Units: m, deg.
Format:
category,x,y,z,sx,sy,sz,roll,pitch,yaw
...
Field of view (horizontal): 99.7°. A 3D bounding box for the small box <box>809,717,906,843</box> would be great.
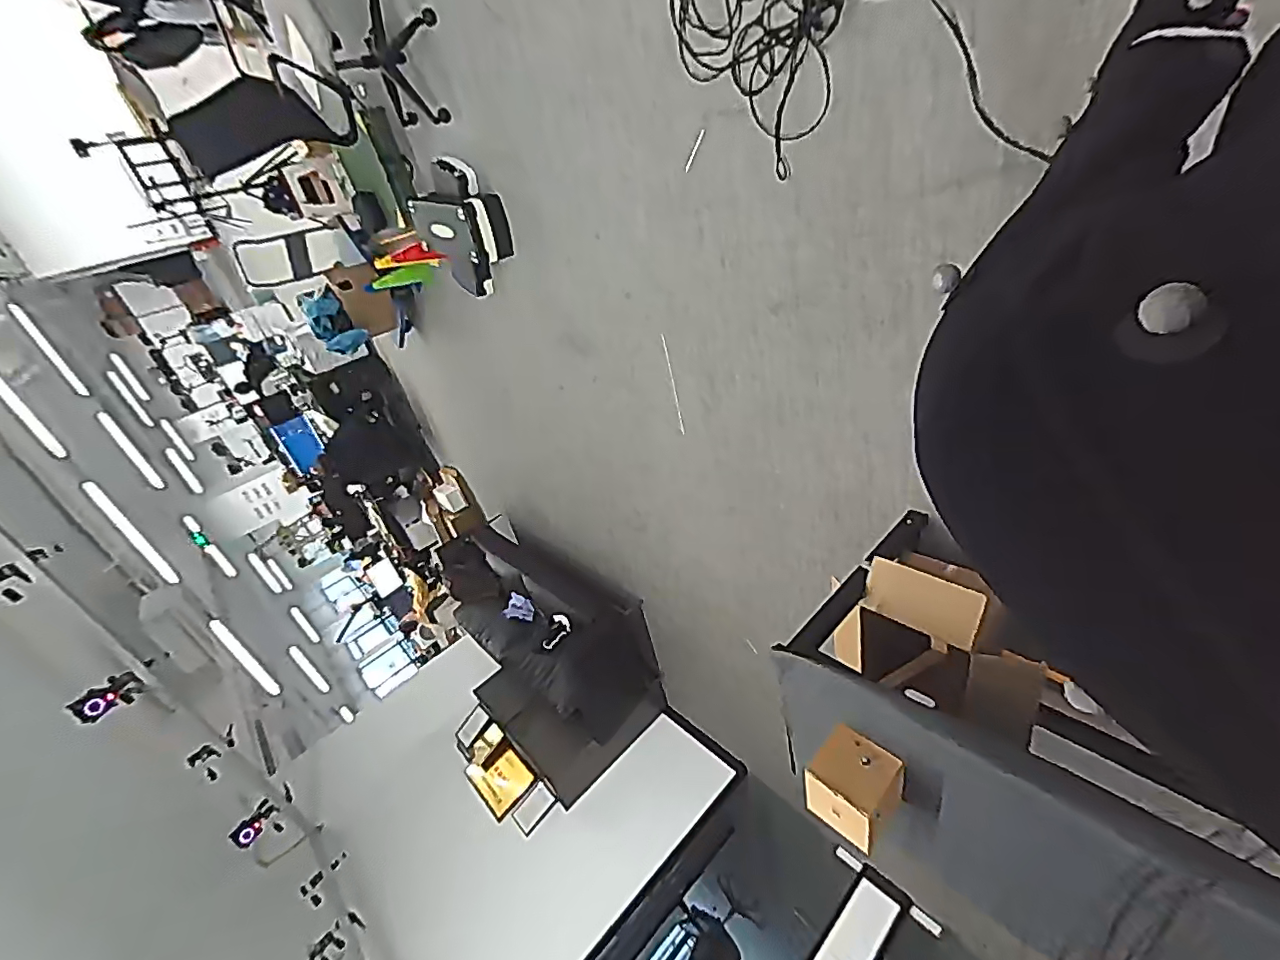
category,x,y,z,sx,sy,sz,roll,pitch,yaw
small box,0.539,0.734,1.337,0.168,0.176,0.179,22,137,44
